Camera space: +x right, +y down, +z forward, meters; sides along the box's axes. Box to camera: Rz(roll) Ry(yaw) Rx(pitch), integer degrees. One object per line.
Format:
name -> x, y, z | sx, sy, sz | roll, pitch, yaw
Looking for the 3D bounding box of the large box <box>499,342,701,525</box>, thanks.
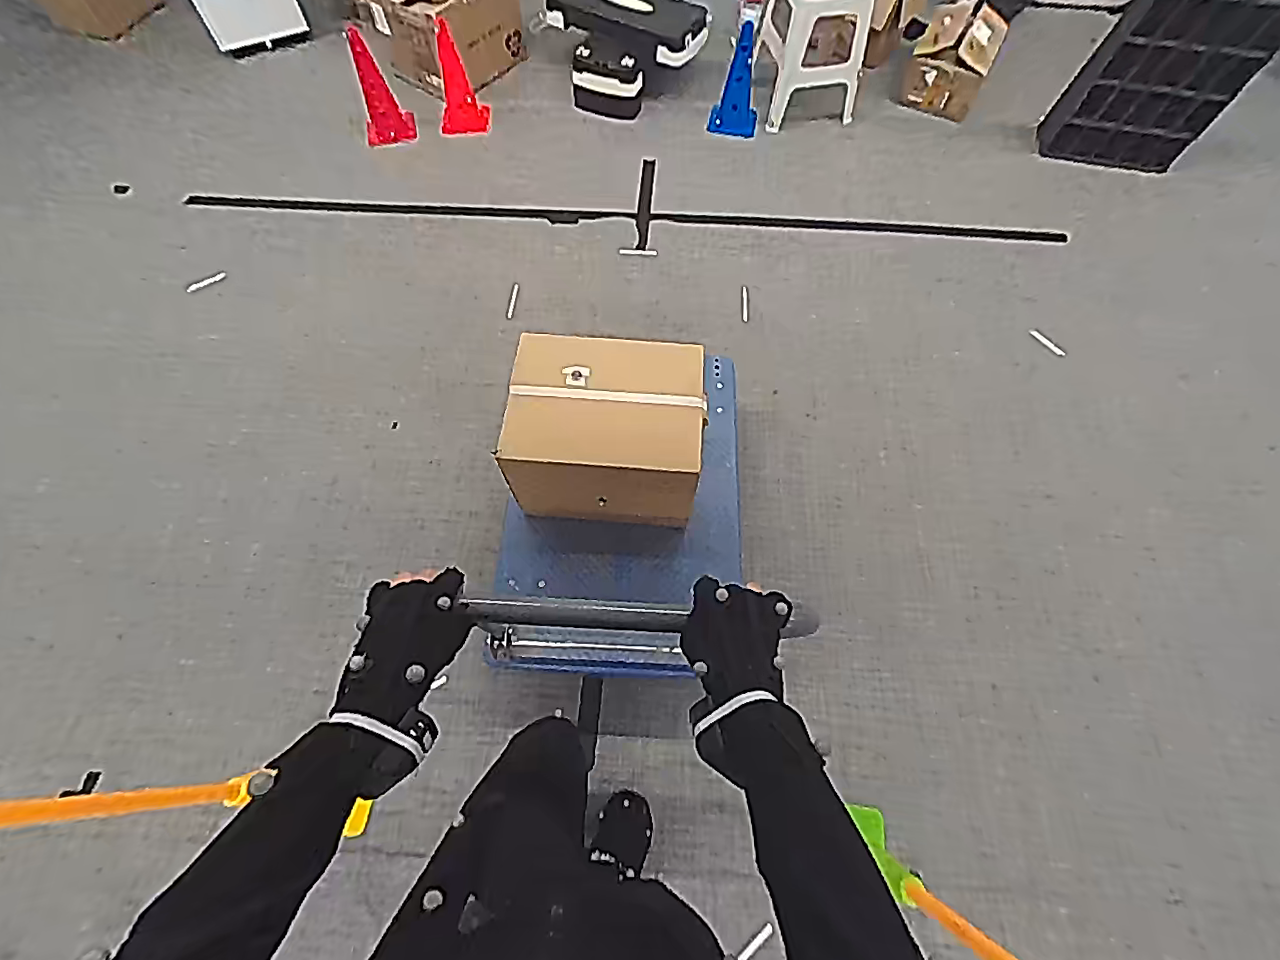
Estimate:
large box -> -0.071, -0.095, 1.266 | 0.408, 0.320, 0.320 | 4, 65, 2
